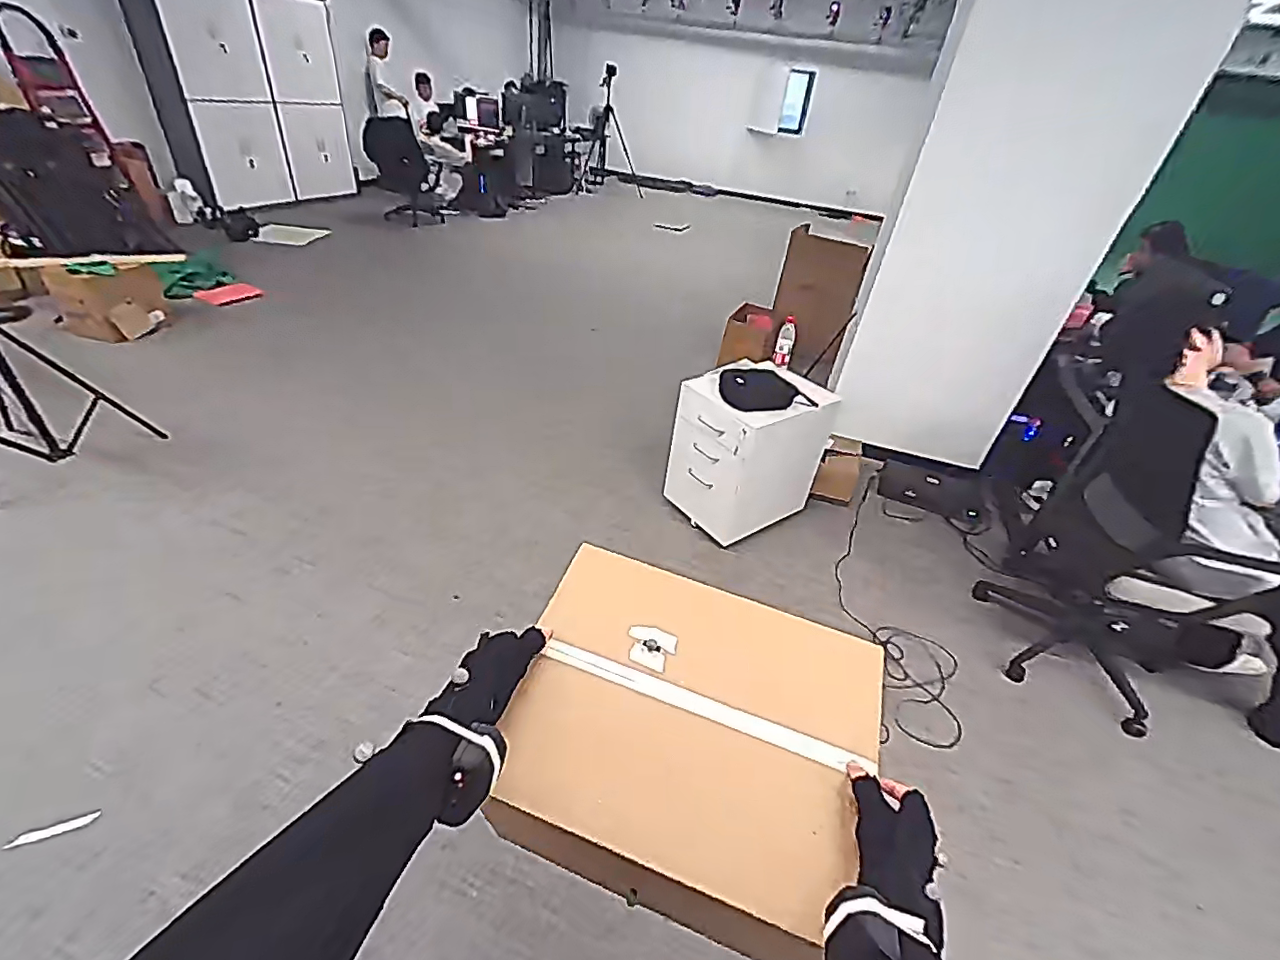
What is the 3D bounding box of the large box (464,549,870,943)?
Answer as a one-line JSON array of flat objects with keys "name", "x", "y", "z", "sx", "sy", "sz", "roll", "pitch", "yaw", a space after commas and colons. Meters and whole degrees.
[{"name": "large box", "x": 0.047, "y": 0.352, "z": 0.724, "sx": 0.408, "sy": 0.320, "sz": 0.320, "roll": 17, "pitch": 48, "yaw": 11}]
